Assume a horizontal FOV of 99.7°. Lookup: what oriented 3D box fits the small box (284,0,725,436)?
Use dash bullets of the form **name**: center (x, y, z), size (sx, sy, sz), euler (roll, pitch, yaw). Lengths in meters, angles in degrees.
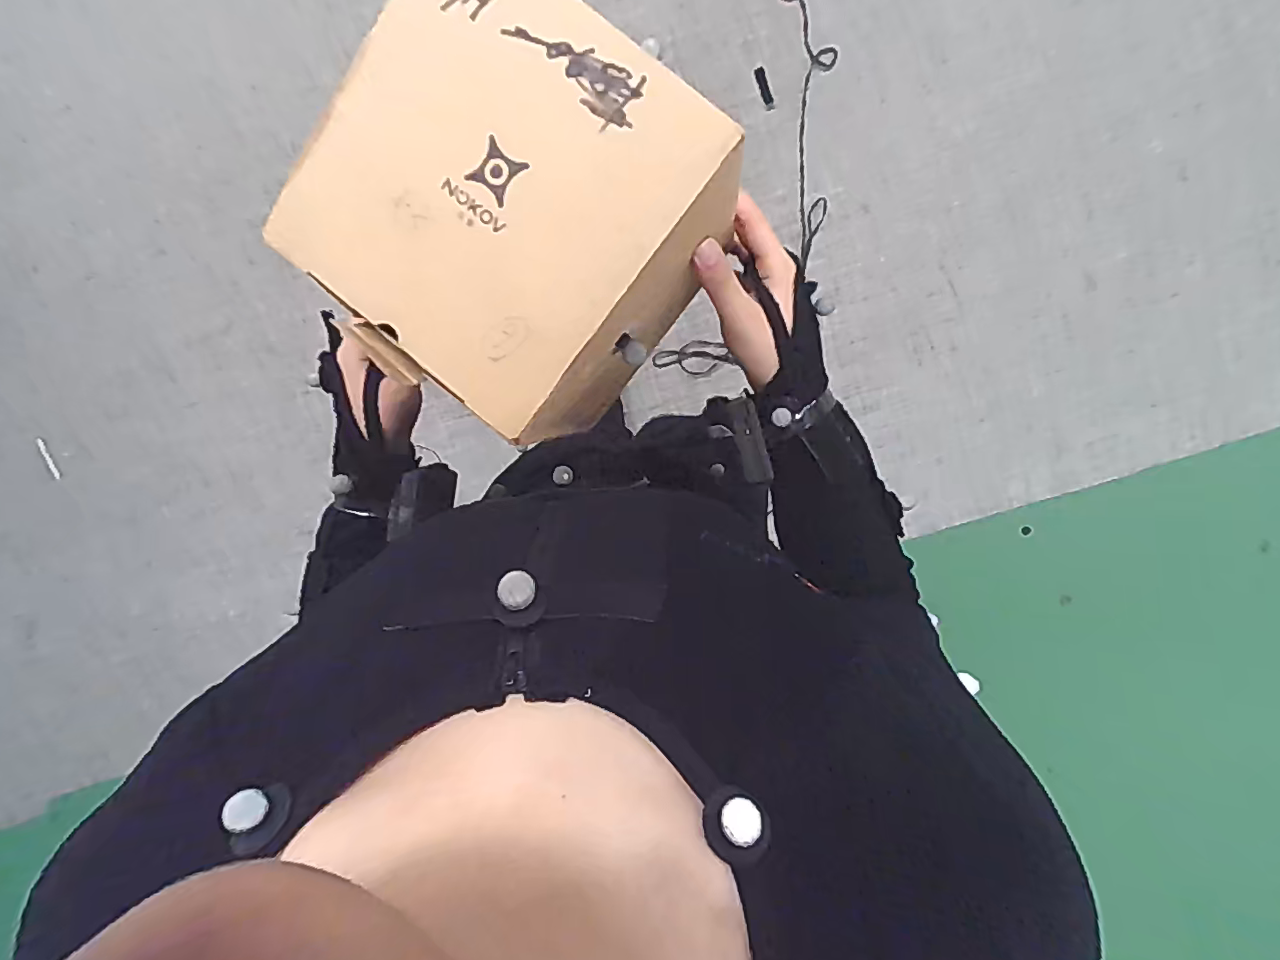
- **small box**: center (-0.061, -0.148, 0.341), size (0.168, 0.176, 0.179), euler (39, 101, 1)
